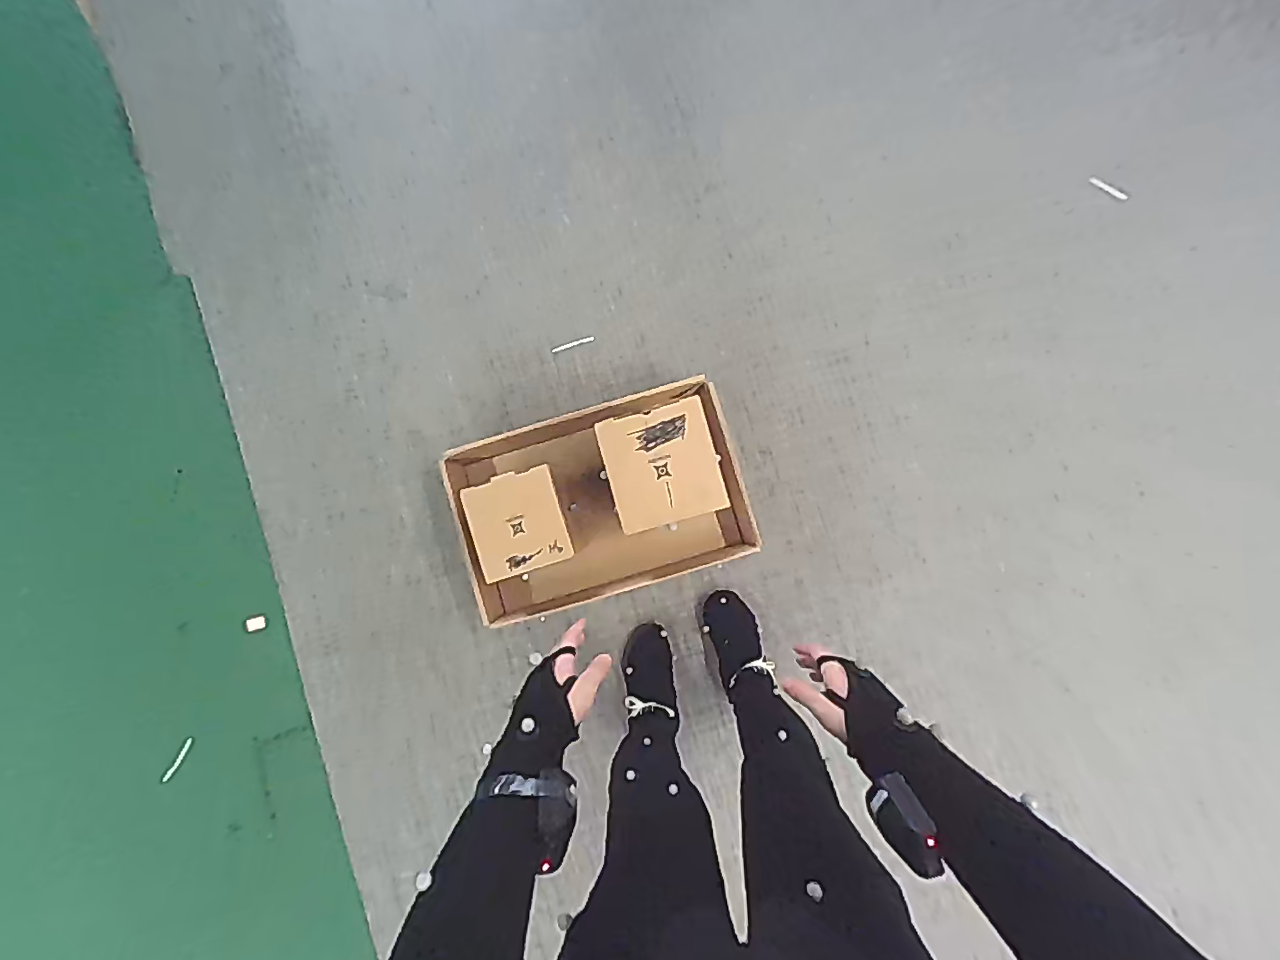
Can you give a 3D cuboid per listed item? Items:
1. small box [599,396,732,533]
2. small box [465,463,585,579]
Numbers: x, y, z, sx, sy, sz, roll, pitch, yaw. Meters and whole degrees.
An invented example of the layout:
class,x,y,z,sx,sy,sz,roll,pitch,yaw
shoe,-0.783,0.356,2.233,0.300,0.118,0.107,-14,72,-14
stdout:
class,x,y,z,sx,sy,sz,roll,pitch,yaw
small box,0.038,-0.019,0.882,0.168,0.176,0.179,-15,88,1
small box,-0.213,0.079,1.042,0.168,0.176,0.179,-17,86,0
